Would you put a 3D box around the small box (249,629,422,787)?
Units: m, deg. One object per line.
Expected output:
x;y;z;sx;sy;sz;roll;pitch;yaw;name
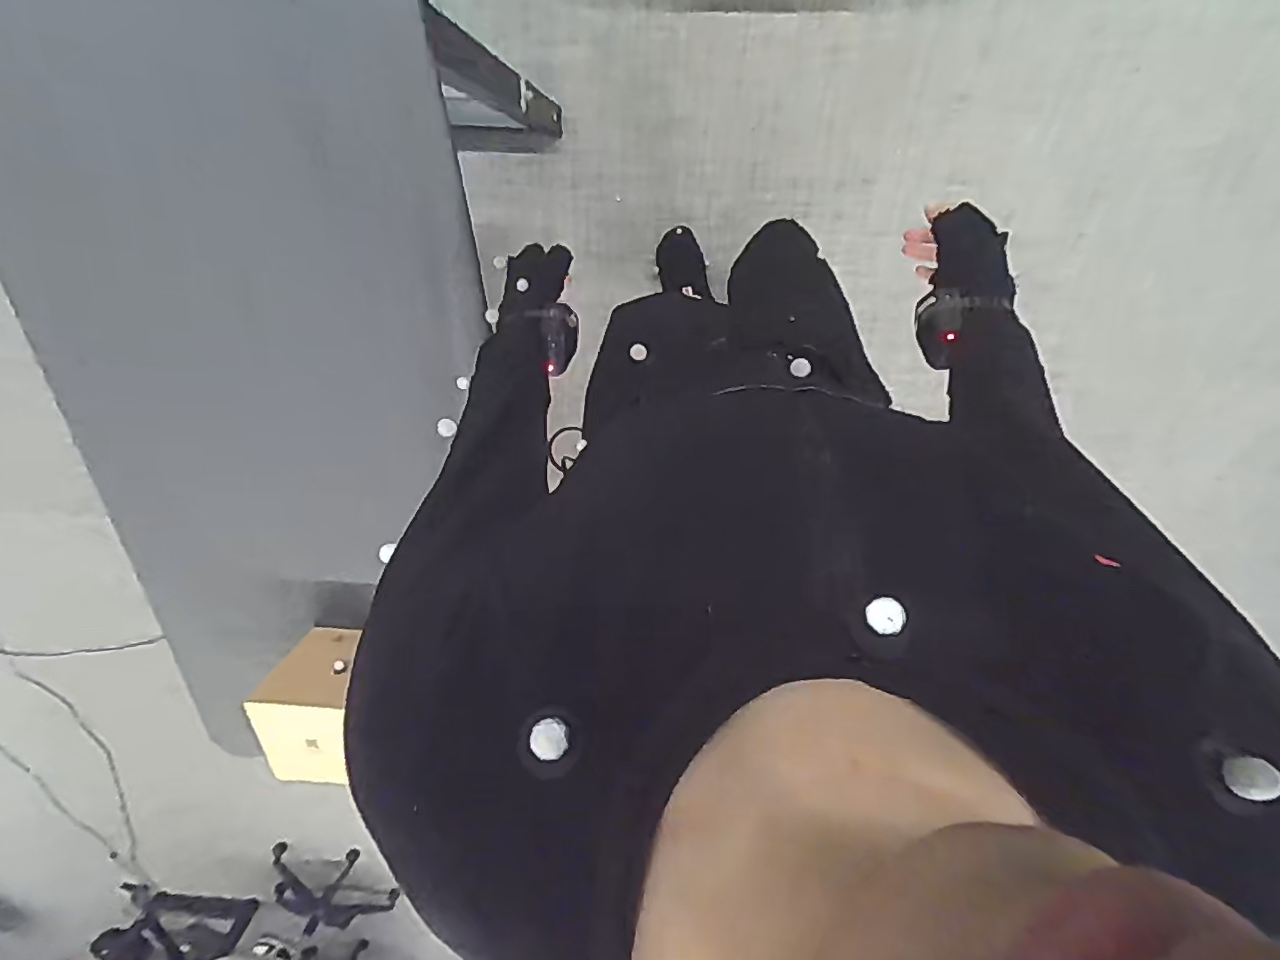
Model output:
-0.483;0.366;0.887;0.168;0.176;0.179;2;117;4;small box
